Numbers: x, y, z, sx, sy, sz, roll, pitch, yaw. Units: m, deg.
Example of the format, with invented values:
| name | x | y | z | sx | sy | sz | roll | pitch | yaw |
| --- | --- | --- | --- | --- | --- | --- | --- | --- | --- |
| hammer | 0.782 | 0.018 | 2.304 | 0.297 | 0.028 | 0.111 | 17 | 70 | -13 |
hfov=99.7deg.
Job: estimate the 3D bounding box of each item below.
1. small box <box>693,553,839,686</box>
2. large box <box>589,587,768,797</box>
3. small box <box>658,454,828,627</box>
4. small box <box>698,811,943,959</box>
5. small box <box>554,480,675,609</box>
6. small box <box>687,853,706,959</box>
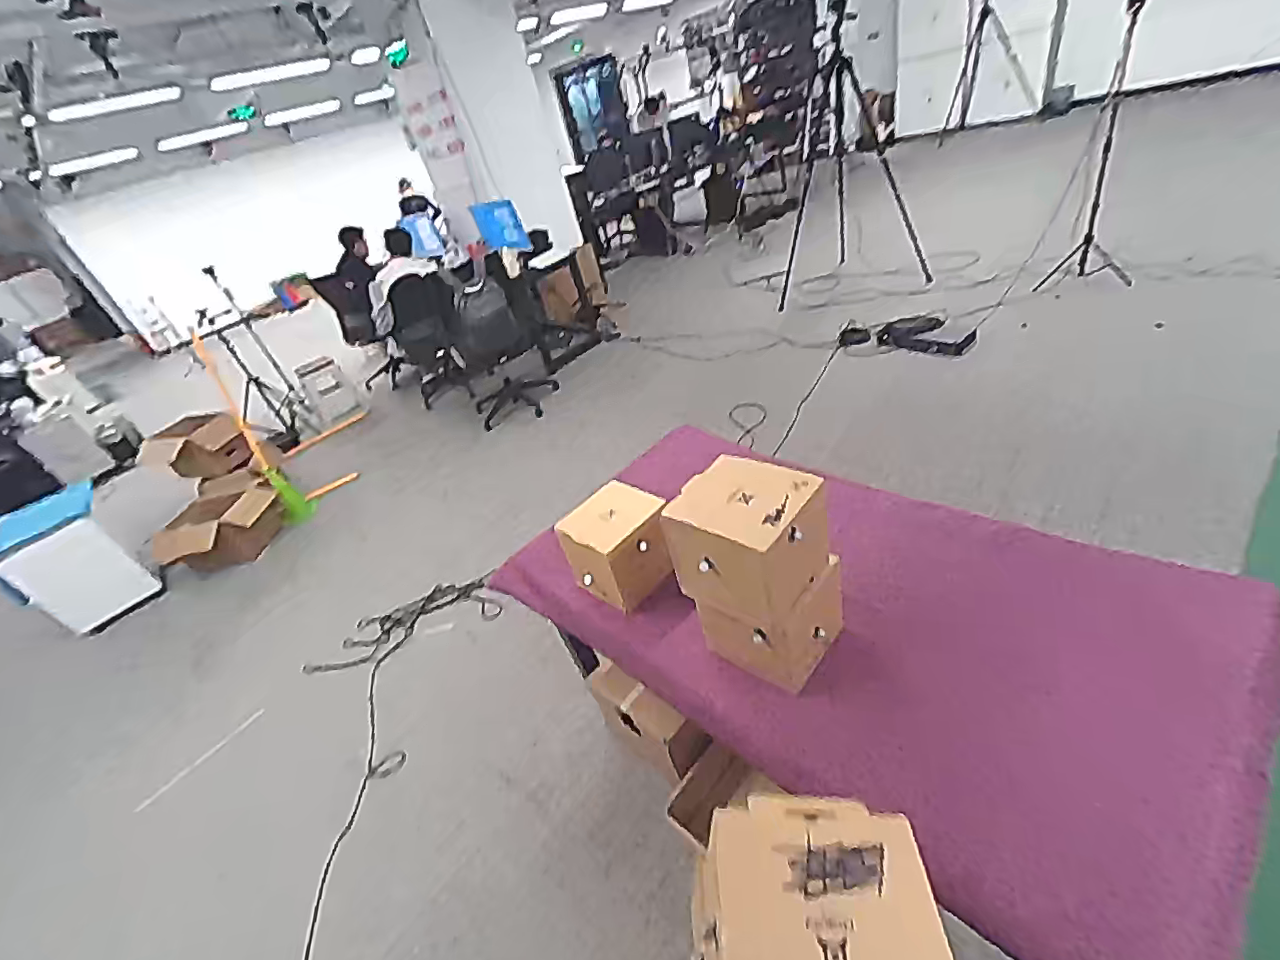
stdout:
| name | x | y | z | sx | sy | sz | roll | pitch | yaw |
| --- | --- | --- | --- | --- | --- | --- | --- | --- | --- |
| small box | 0.214 | 0.208 | 0.896 | 0.179 | 0.176 | 0.168 | 18 | 46 | 42 |
| large box | 0.129 | 0.599 | 1.570 | 0.320 | 0.320 | 0.408 | 19 | 50 | 42 |
| small box | 0.158 | 0.086 | 0.799 | 0.179 | 0.176 | 0.168 | 17 | 47 | 41 |
| small box | 0.134 | 0.401 | 0.435 | 0.168 | 0.176 | 0.179 | 0 | 36 | 4 |
| small box | -0.043 | 0.131 | 1.125 | 0.168 | 0.176 | 0.179 | 20 | 49 | 42 |
| small box | 0.137 | 0.517 | 0.556 | 0.168 | 0.176 | 0.179 | -1 | 35 | 1 |
